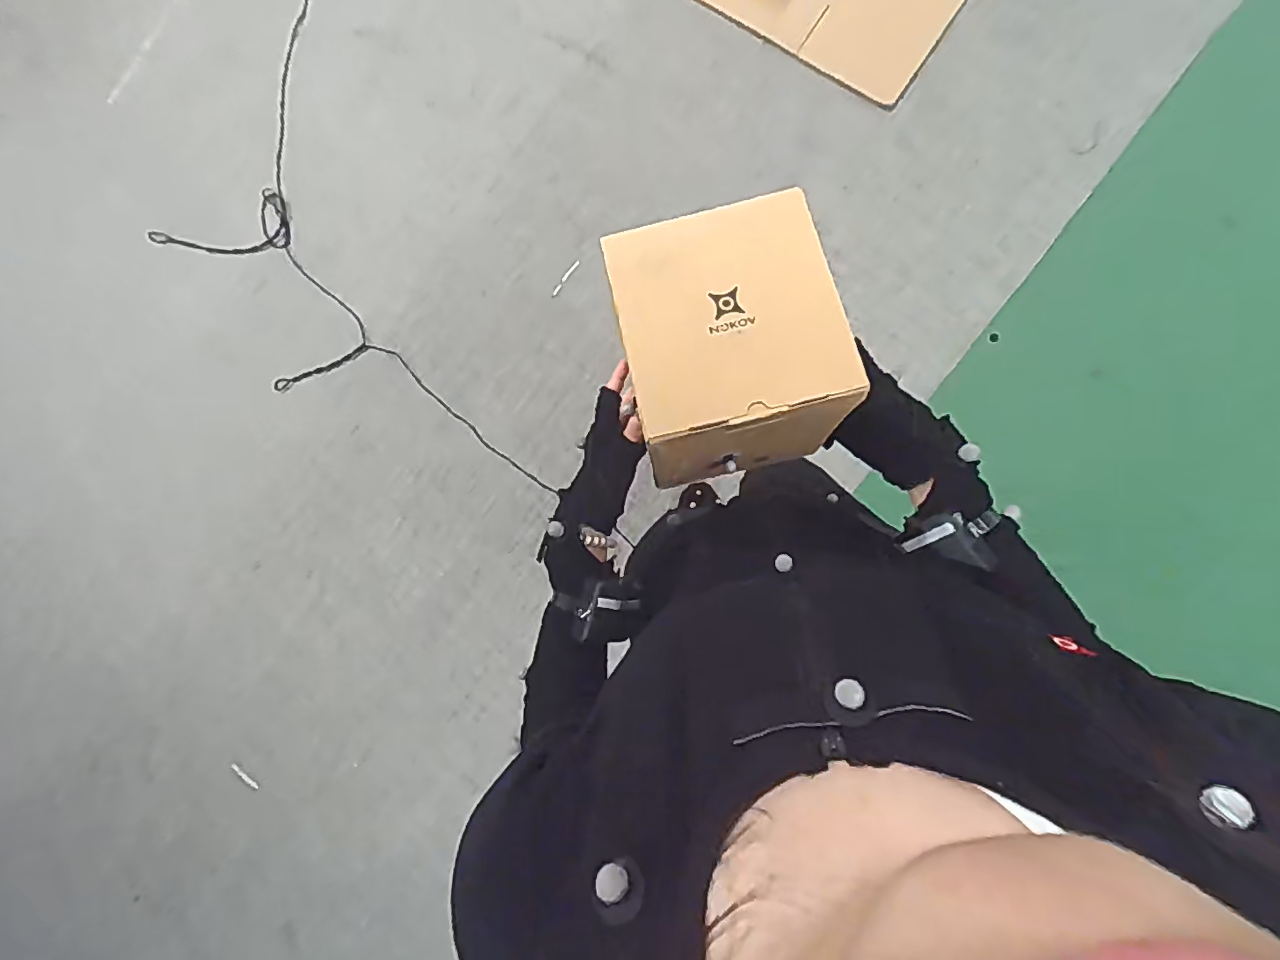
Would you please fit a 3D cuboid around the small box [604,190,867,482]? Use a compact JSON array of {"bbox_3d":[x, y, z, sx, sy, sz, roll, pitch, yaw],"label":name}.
[{"bbox_3d":[0.071,-0.112,0.485,0.168,0.176,0.179,-14,77,1],"label":"small box"}]
